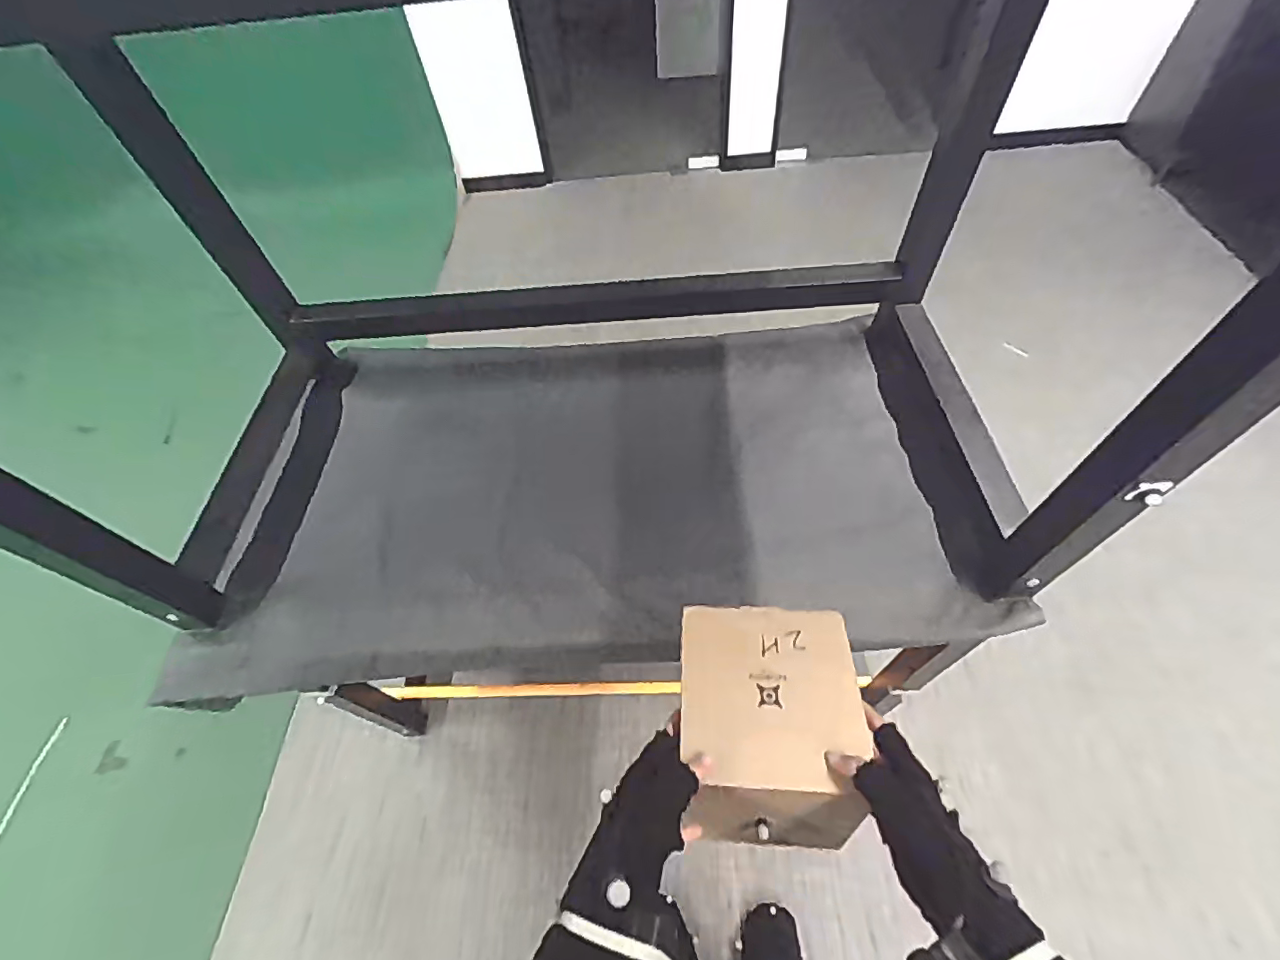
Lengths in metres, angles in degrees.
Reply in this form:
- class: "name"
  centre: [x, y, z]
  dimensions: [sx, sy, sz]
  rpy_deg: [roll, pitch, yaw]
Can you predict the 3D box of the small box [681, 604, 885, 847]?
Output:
- class: "small box"
  centre: [0.128, 0.250, 0.552]
  dimensions: [0.168, 0.176, 0.179]
  rpy_deg: [2, 42, 5]
